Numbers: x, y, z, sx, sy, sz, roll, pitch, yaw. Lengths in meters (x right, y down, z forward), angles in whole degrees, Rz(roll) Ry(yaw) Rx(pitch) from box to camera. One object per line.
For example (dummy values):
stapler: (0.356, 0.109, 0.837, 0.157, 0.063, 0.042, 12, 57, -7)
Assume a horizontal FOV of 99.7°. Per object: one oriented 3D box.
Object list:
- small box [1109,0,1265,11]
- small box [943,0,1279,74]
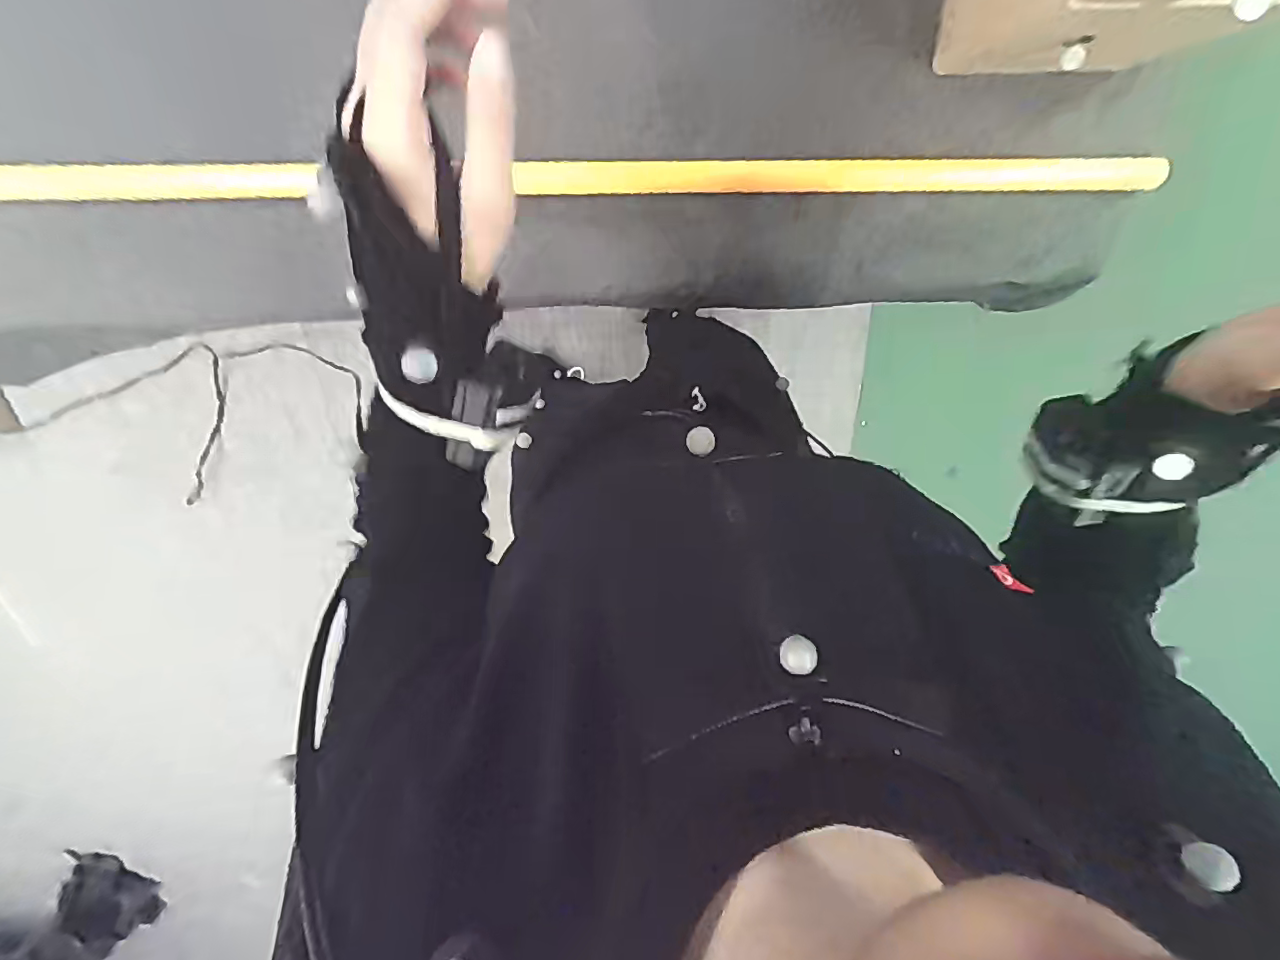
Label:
small box: (0.332, -0.324, 0.206, 0.168, 0.176, 0.179, -2, 115, 3)
small box: (0.330, -0.389, 0.355, 0.168, 0.176, 0.179, -1, 114, 2)
